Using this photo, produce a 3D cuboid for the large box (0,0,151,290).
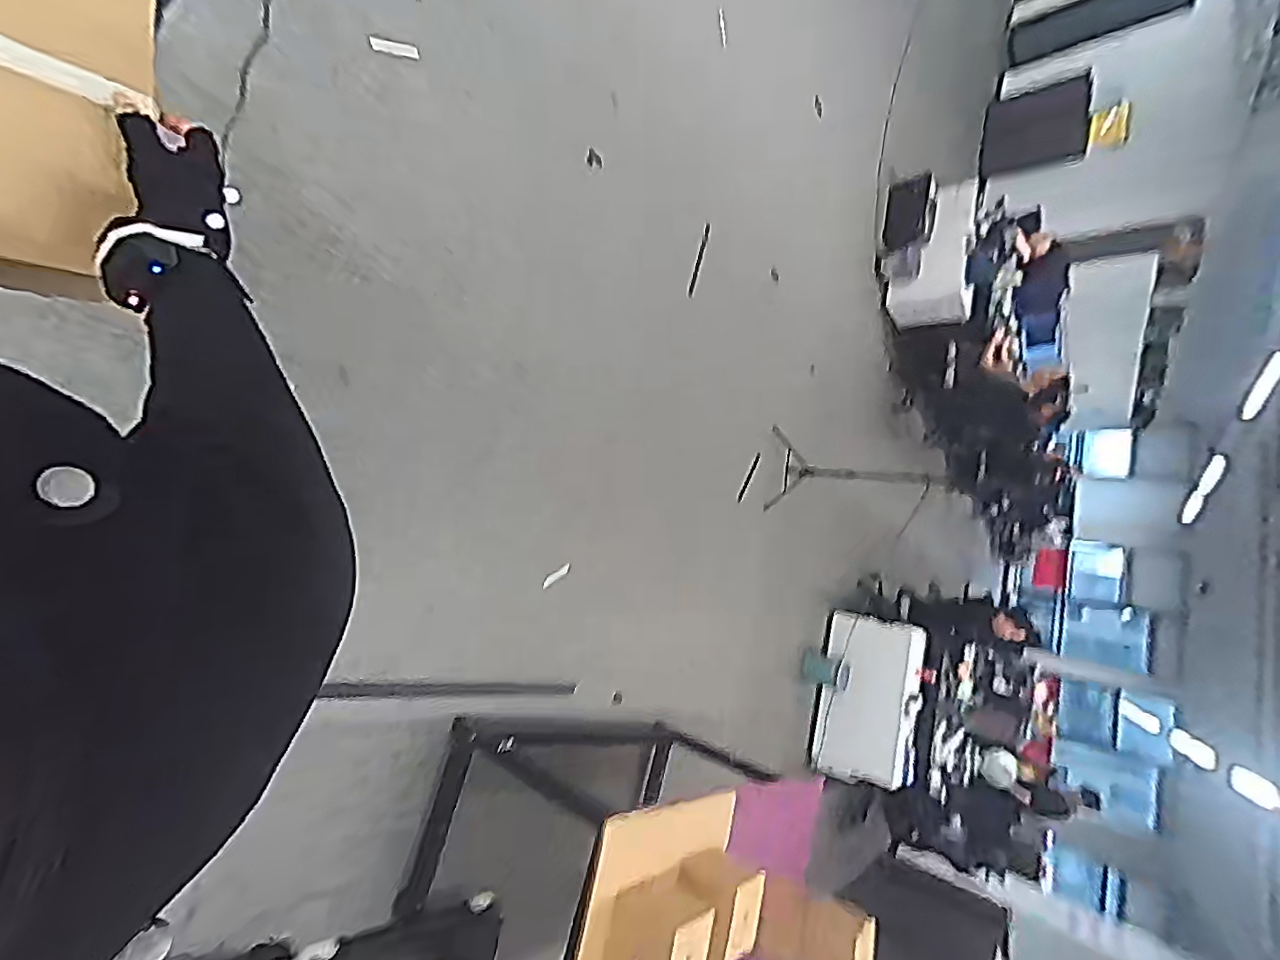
[{"bbox_3d":[-0.695,-0.362,0.440,0.408,0.320,0.320,-1,99,-52],"label":"large box"}]
